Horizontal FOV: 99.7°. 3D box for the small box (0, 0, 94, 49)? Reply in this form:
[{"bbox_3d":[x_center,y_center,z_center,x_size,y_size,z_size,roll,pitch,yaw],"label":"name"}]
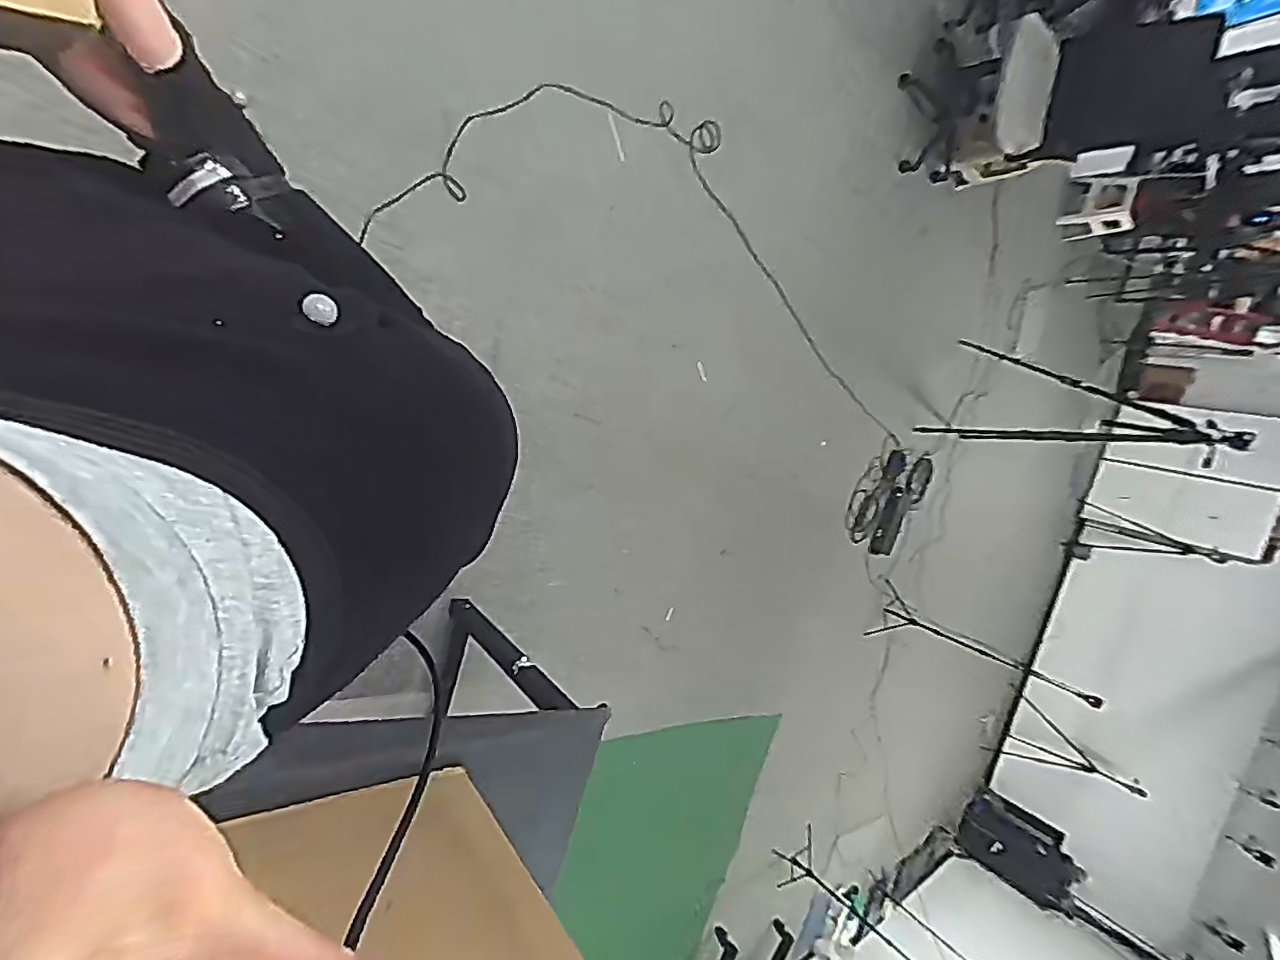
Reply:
[{"bbox_3d":[-0.365,-0.298,0.209,0.168,0.176,0.179,-23,130,-43],"label":"small box"}]
